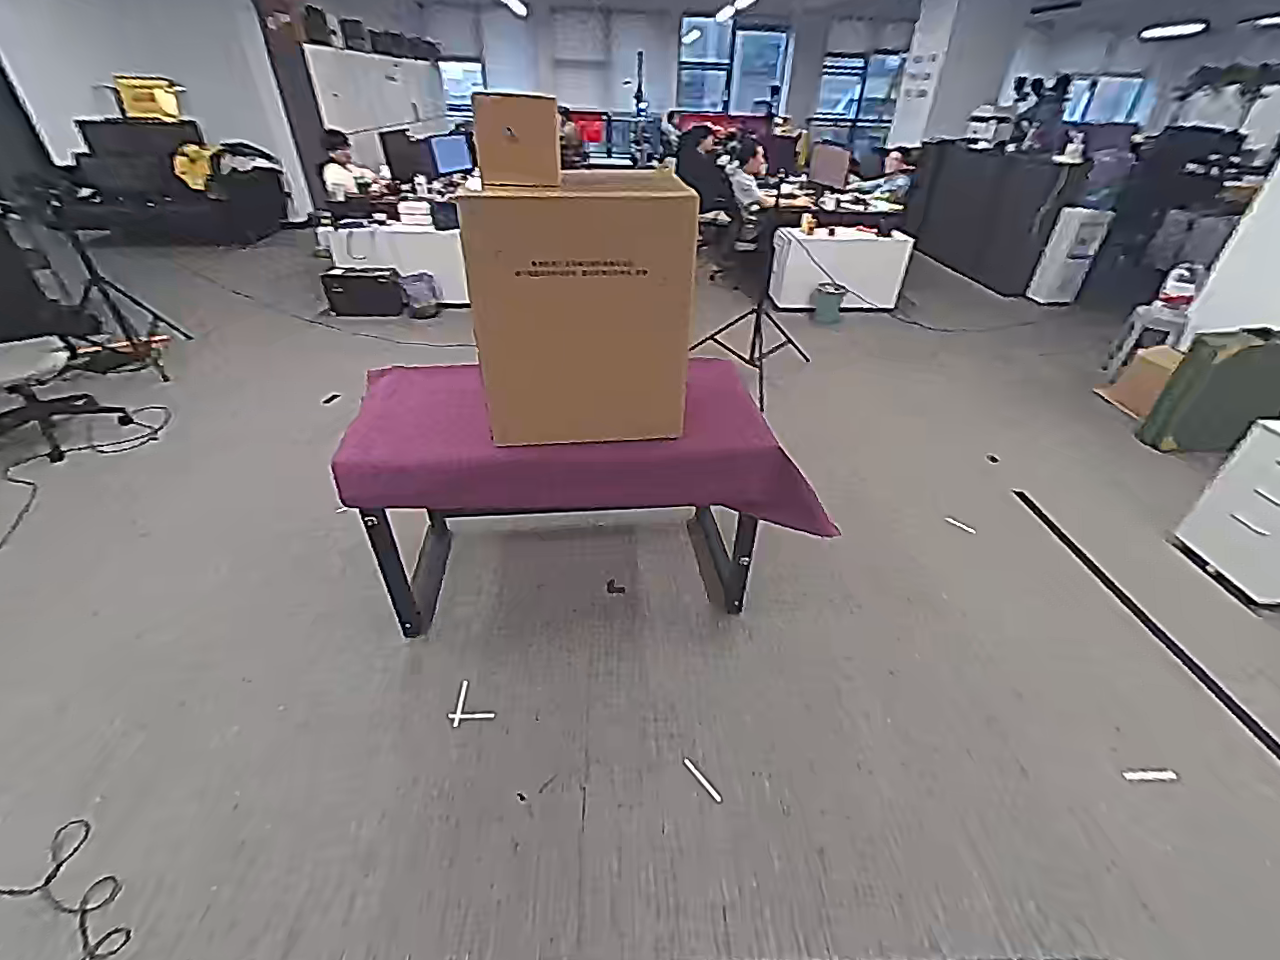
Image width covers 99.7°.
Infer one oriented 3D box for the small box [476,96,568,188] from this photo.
[{"bbox_3d":[-0.259,-0.766,1.225,0.179,0.176,0.168,-1,37,-5],"label":"small box"}]
